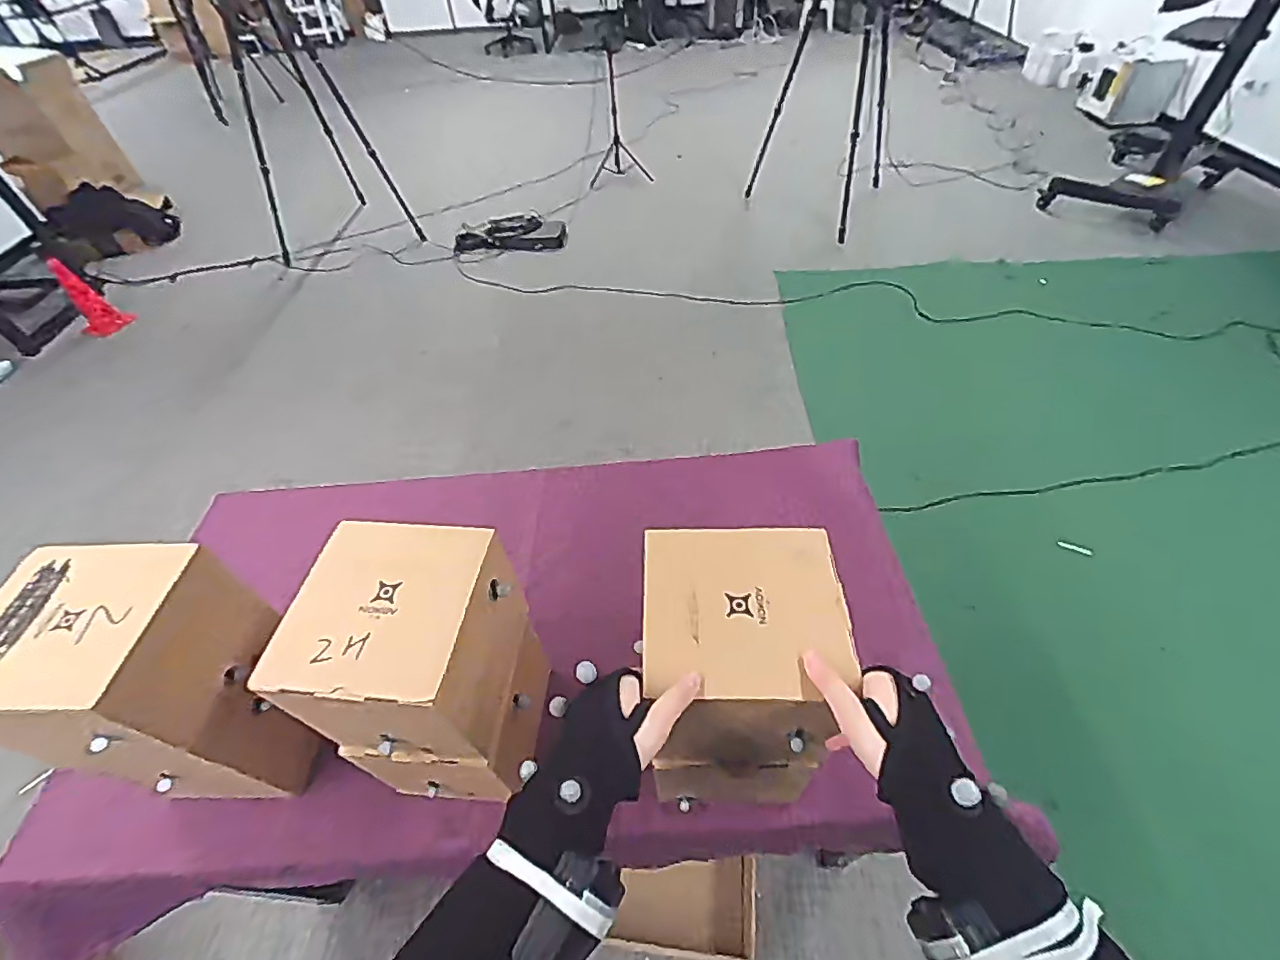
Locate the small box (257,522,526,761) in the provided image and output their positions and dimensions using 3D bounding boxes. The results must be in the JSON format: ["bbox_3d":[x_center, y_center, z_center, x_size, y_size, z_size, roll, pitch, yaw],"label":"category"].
[{"bbox_3d":[-0.227,0.165,0.555,0.168,0.176,0.179,3,50,7],"label":"small box"}]

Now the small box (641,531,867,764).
[{"bbox_3d":[0.096,0.165,0.528,0.179,0.176,0.168,-1,48,4],"label":"small box"}]

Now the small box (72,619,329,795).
[{"bbox_3d":[-0.517,0.290,0.684,0.179,0.176,0.168,-2,50,3],"label":"small box"}]

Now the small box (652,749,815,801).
[{"bbox_3d":[0.101,0.274,0.650,0.168,0.176,0.179,-2,48,3],"label":"small box"}]

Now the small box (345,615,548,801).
[{"bbox_3d":[-0.219,0.279,0.674,0.168,0.176,0.179,2,50,6],"label":"small box"}]
